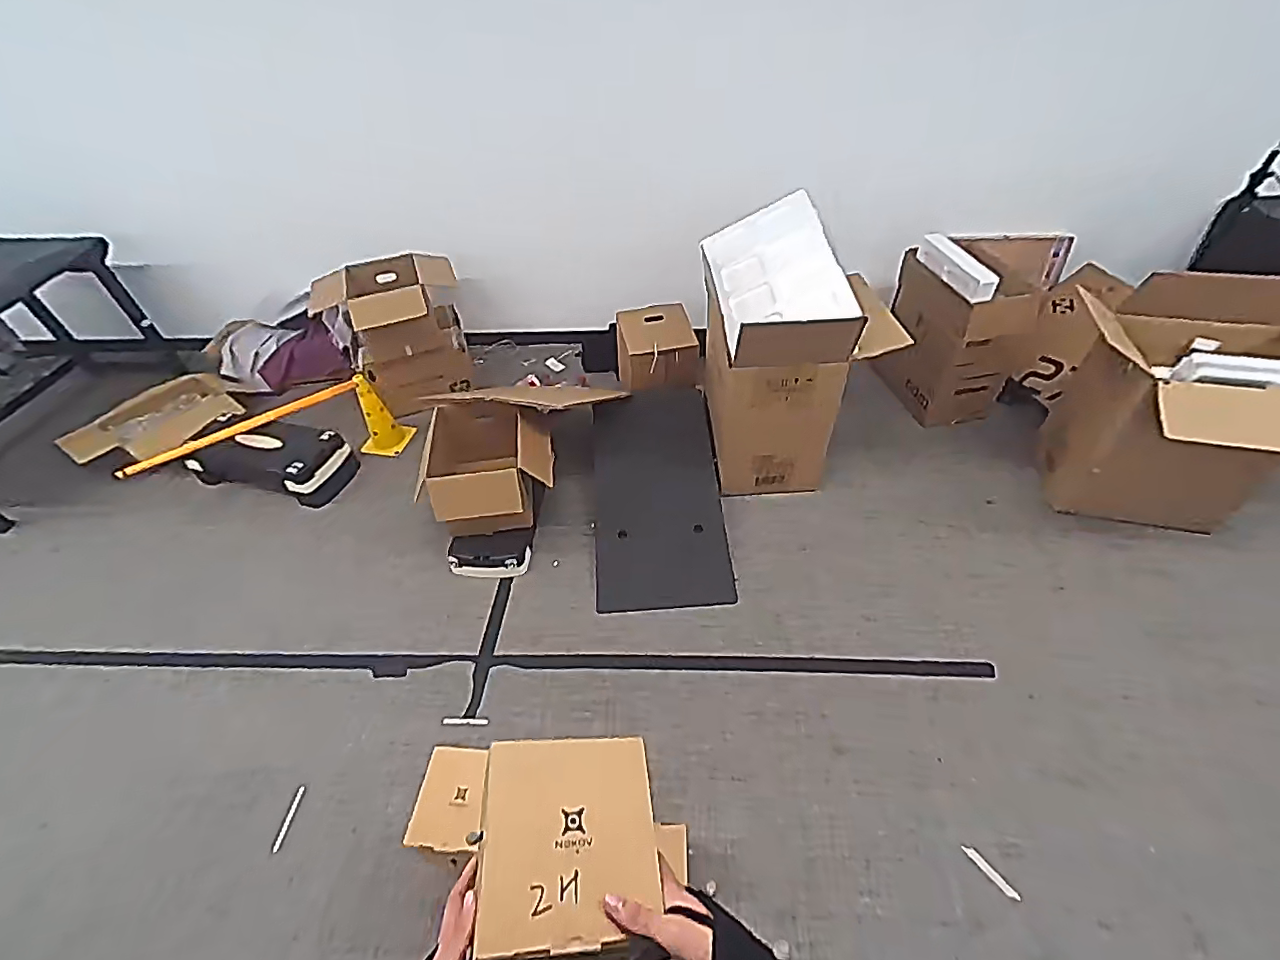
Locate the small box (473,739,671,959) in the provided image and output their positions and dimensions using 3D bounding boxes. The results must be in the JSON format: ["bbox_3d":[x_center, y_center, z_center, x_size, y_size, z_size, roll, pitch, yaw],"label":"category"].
[{"bbox_3d":[-0.079,0.393,0.562,0.168,0.176,0.179,6,41,-14],"label":"small box"}]

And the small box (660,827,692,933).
[{"bbox_3d":[0.034,0.934,1.263,0.168,0.176,0.179,-2,46,4],"label":"small box"}]

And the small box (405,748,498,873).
[{"bbox_3d":[-0.337,0.666,1.086,0.168,0.176,0.179,2,46,5],"label":"small box"}]
